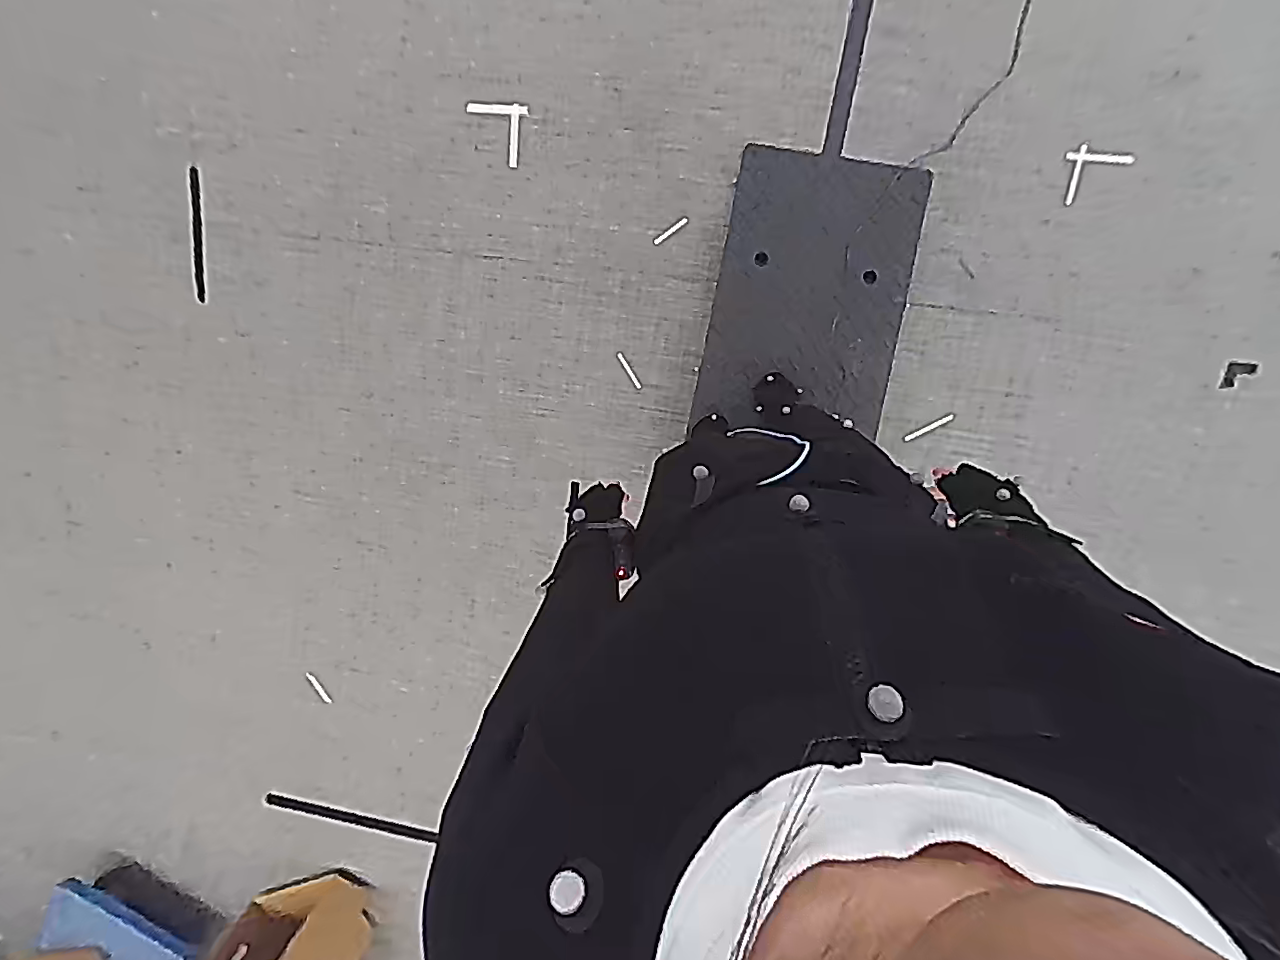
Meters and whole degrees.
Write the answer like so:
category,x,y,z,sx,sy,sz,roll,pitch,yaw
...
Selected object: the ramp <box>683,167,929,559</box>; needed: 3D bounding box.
category,x,y,z,sx,sy,sz,roll,pitch,yaw
ramp,0.435,-0.321,1.444,0.509,0.206,0.991,9,100,8
